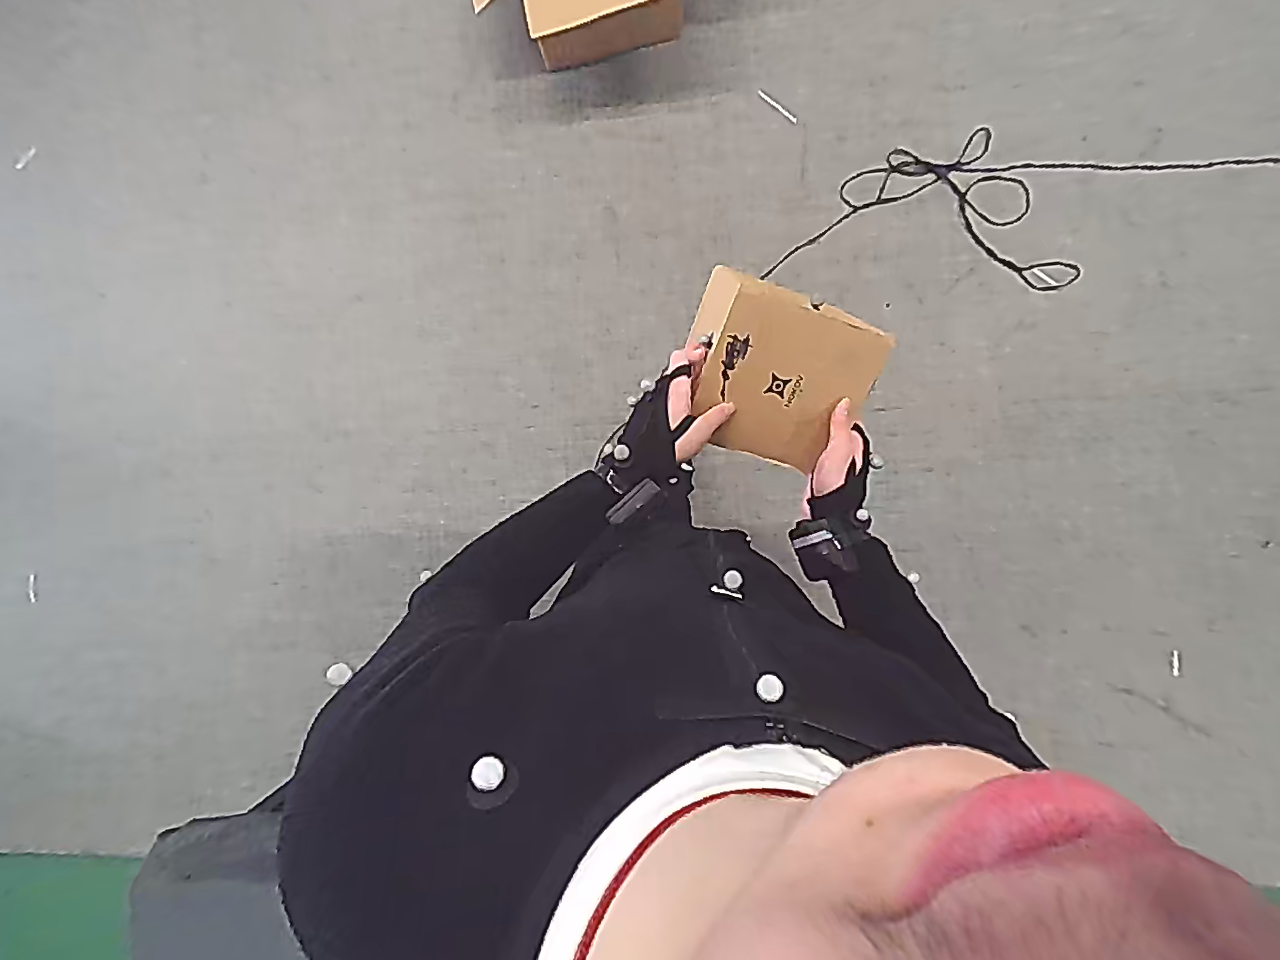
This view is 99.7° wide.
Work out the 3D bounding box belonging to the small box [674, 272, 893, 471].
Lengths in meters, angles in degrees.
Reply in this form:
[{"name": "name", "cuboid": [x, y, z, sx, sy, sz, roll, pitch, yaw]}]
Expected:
[{"name": "small box", "cuboid": [0.151, -0.136, 0.640, 0.179, 0.176, 0.168, 16, 114, -9]}]
